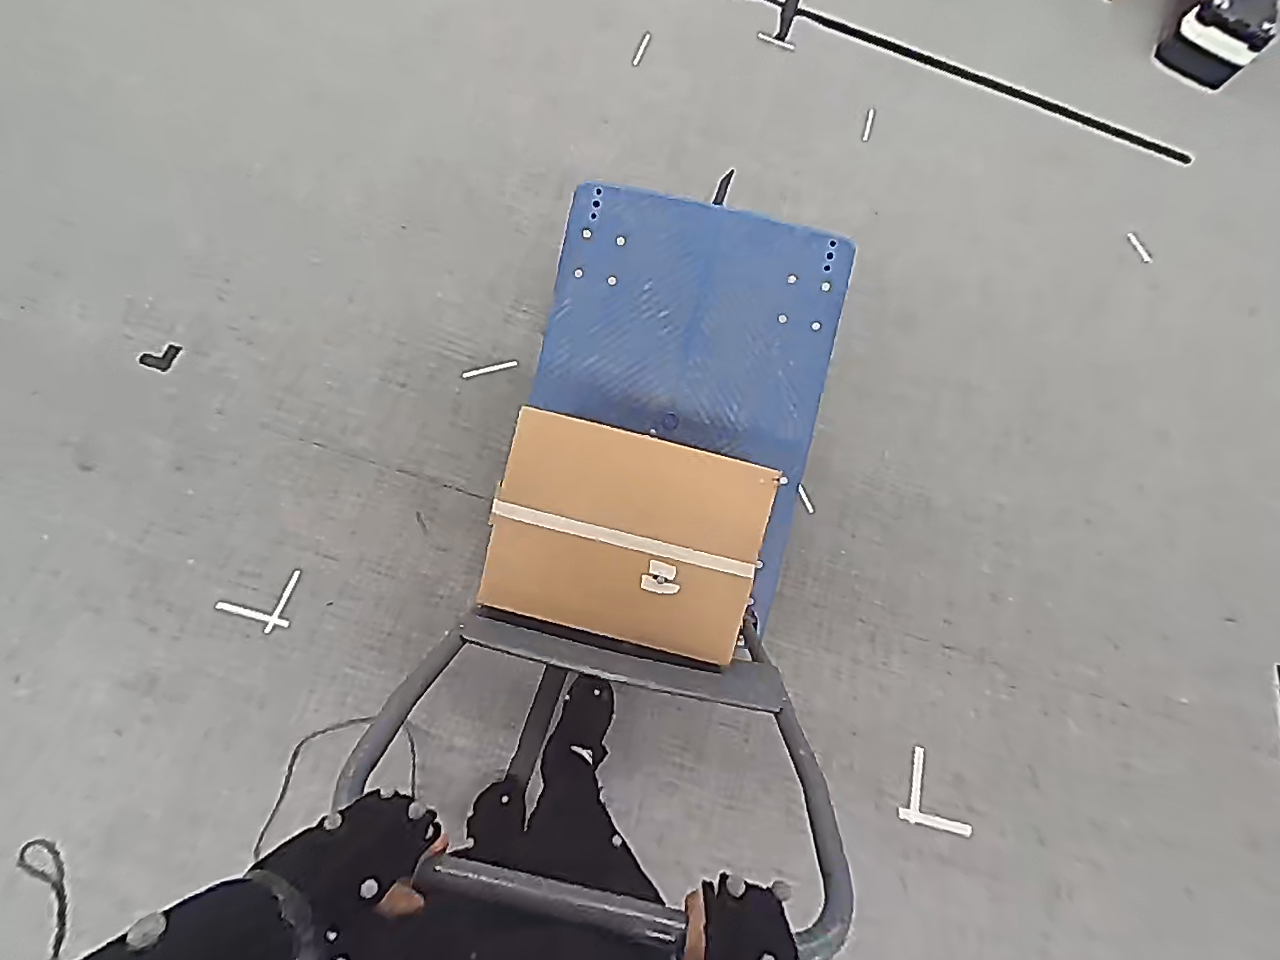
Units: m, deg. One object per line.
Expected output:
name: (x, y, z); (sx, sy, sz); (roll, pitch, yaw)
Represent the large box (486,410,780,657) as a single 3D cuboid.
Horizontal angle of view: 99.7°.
large box: (-0.014, 0.075, 0.976); (0.408, 0.320, 0.320); (14, 95, -1)
